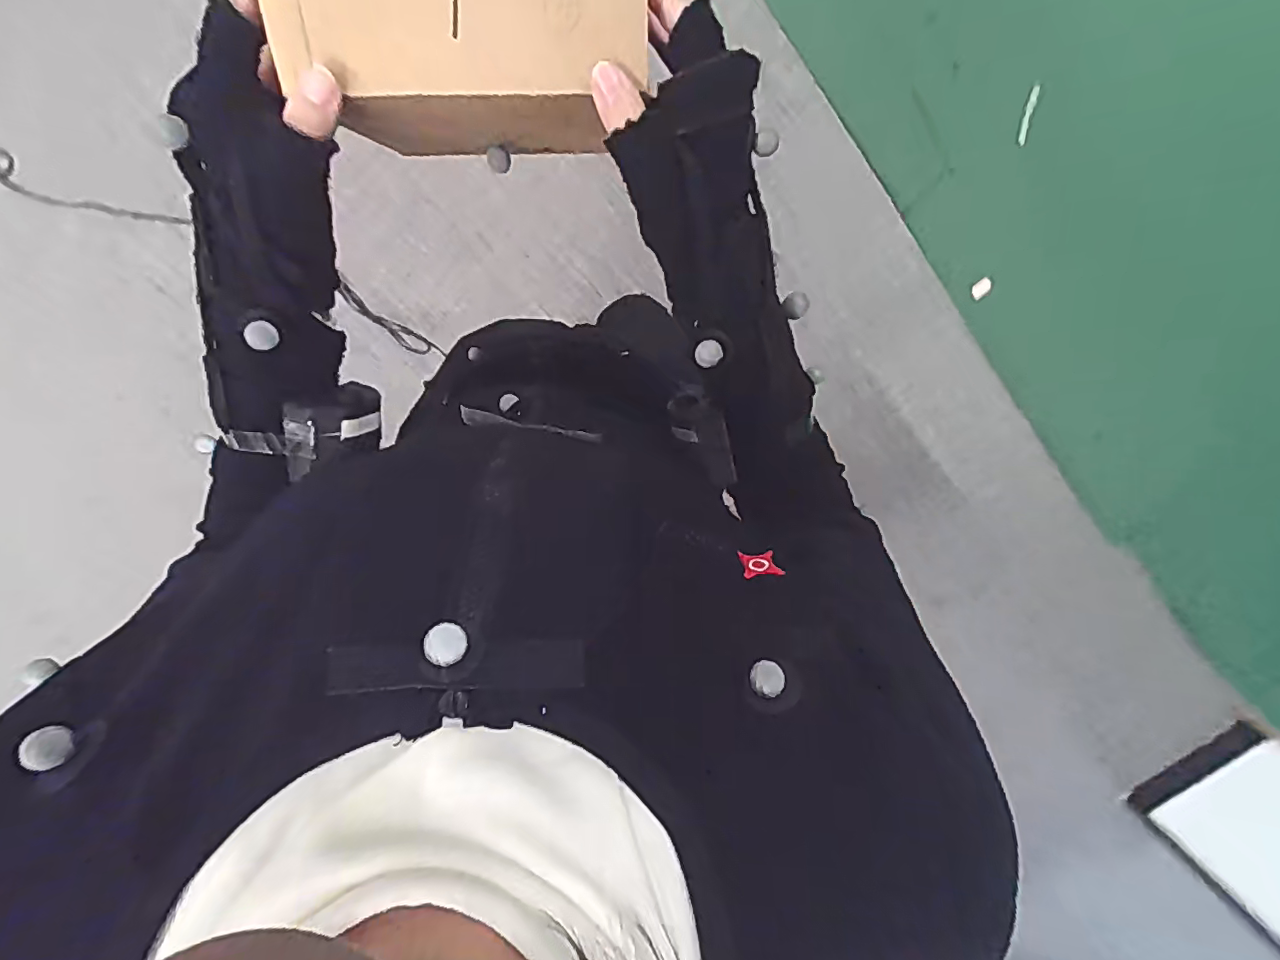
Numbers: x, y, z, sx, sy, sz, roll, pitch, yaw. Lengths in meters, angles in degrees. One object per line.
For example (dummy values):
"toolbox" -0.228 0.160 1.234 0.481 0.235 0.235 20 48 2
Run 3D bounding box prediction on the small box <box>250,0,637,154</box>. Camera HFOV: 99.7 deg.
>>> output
"small box" -0.091 -0.289 0.286 0.168 0.176 0.179 -4 113 -3
